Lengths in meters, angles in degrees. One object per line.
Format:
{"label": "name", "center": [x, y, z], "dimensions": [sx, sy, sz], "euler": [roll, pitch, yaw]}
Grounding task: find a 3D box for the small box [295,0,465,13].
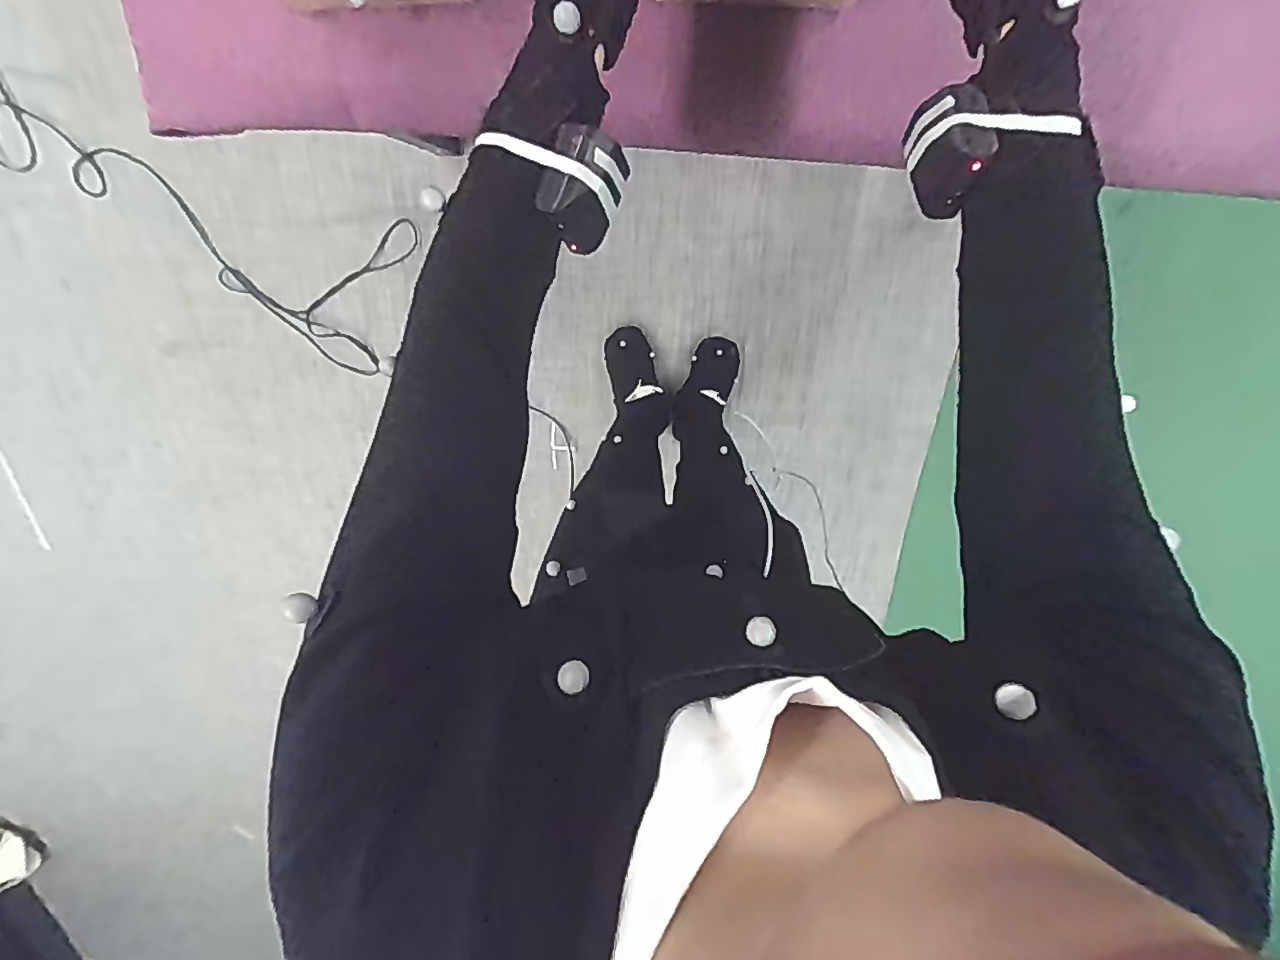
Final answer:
{"label": "small box", "center": [-0.233, -0.471, 0.379], "dimensions": [0.168, 0.176, 0.179], "euler": [-1, 114, 0]}
